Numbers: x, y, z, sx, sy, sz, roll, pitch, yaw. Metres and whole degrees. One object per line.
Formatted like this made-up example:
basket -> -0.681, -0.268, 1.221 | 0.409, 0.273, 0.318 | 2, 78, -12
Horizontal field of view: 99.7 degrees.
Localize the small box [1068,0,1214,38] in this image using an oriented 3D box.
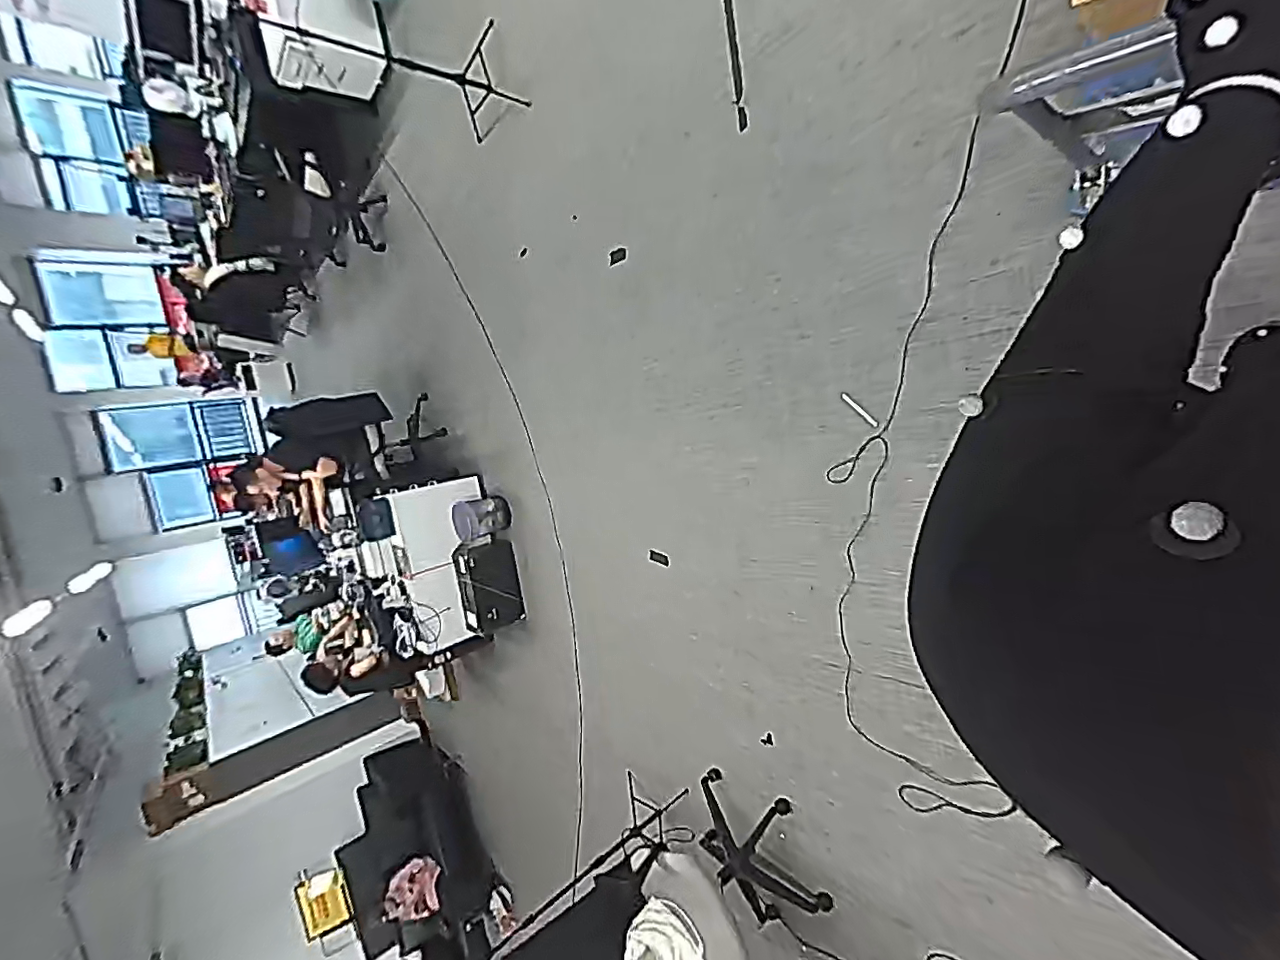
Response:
small box -> 0.779, -0.811, 0.809 | 0.179, 0.176, 0.168 | 14, 112, 44
